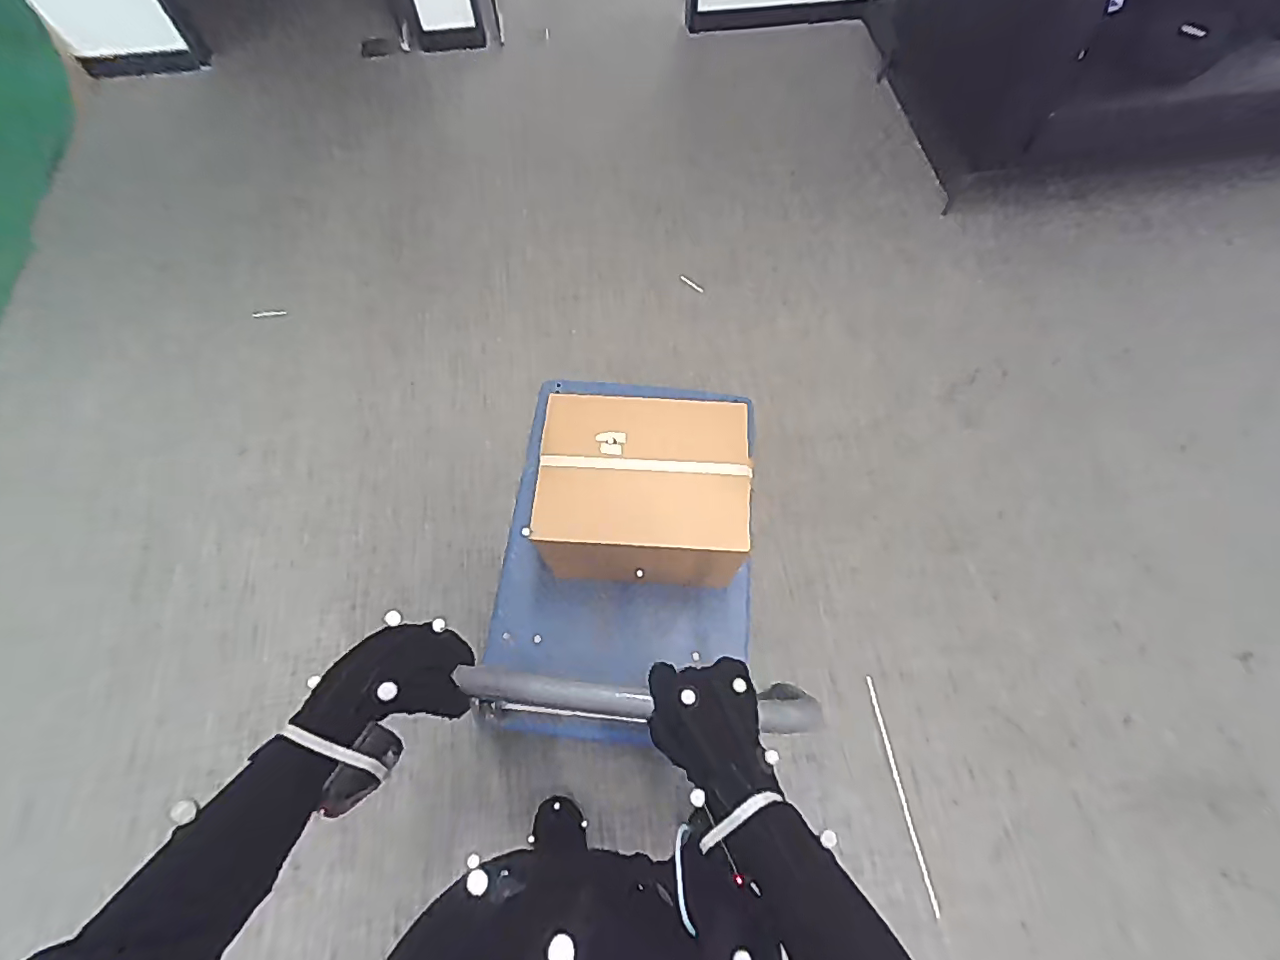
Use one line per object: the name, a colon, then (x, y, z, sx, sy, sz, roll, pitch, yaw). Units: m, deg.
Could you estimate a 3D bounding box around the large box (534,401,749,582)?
large box: (0.012, 0.040, 1.189, 0.408, 0.320, 0.320, 2, 67, 2)
